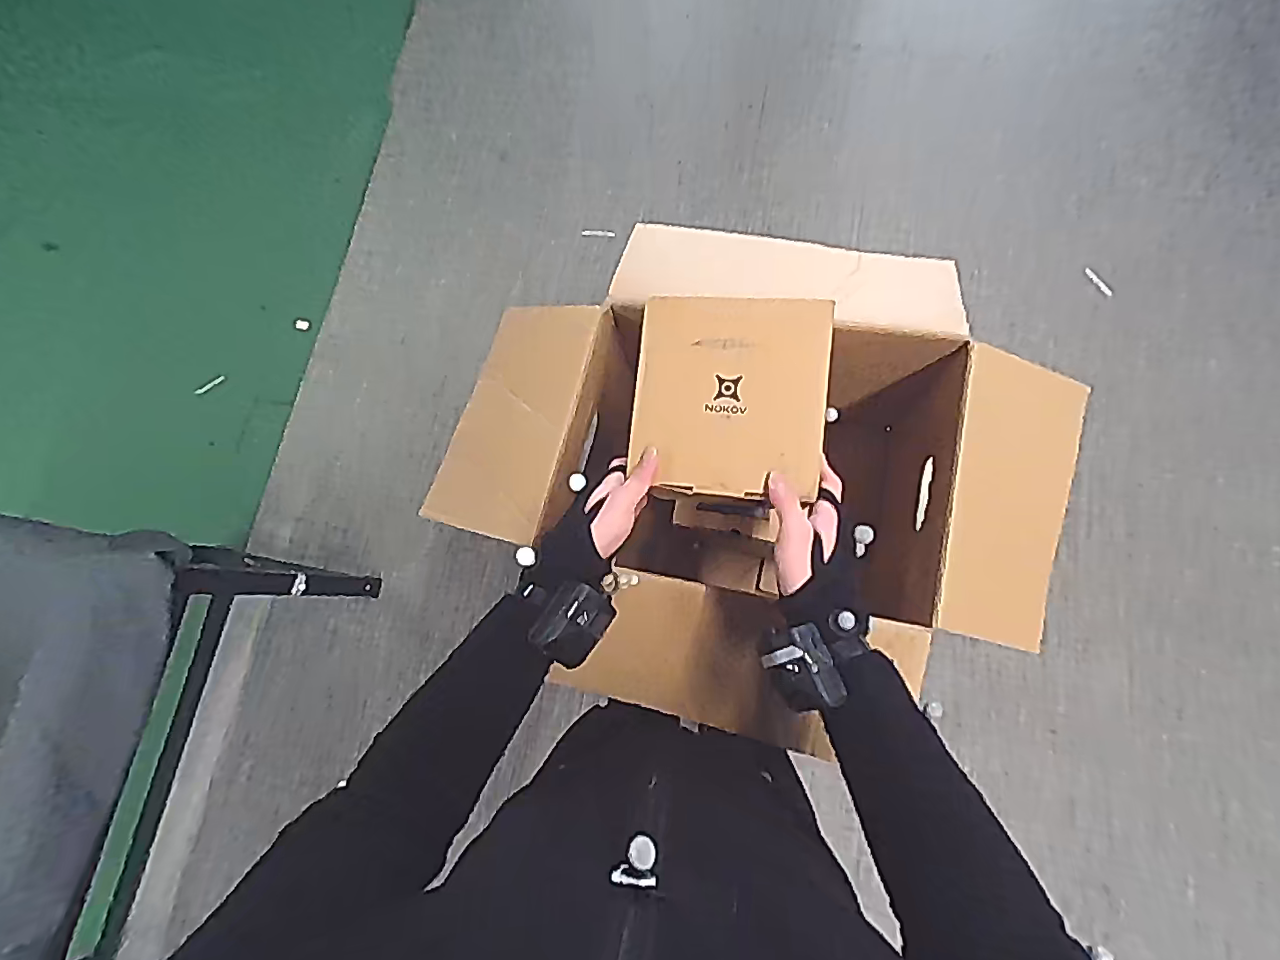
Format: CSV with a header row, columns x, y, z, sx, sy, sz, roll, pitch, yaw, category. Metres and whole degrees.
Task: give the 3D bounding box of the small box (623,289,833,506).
x,y,z,sx,sy,sz,roll,pitch,yaw,category
0.089,-0.070,0.534,0.168,0.176,0.179,4,84,12,small box
